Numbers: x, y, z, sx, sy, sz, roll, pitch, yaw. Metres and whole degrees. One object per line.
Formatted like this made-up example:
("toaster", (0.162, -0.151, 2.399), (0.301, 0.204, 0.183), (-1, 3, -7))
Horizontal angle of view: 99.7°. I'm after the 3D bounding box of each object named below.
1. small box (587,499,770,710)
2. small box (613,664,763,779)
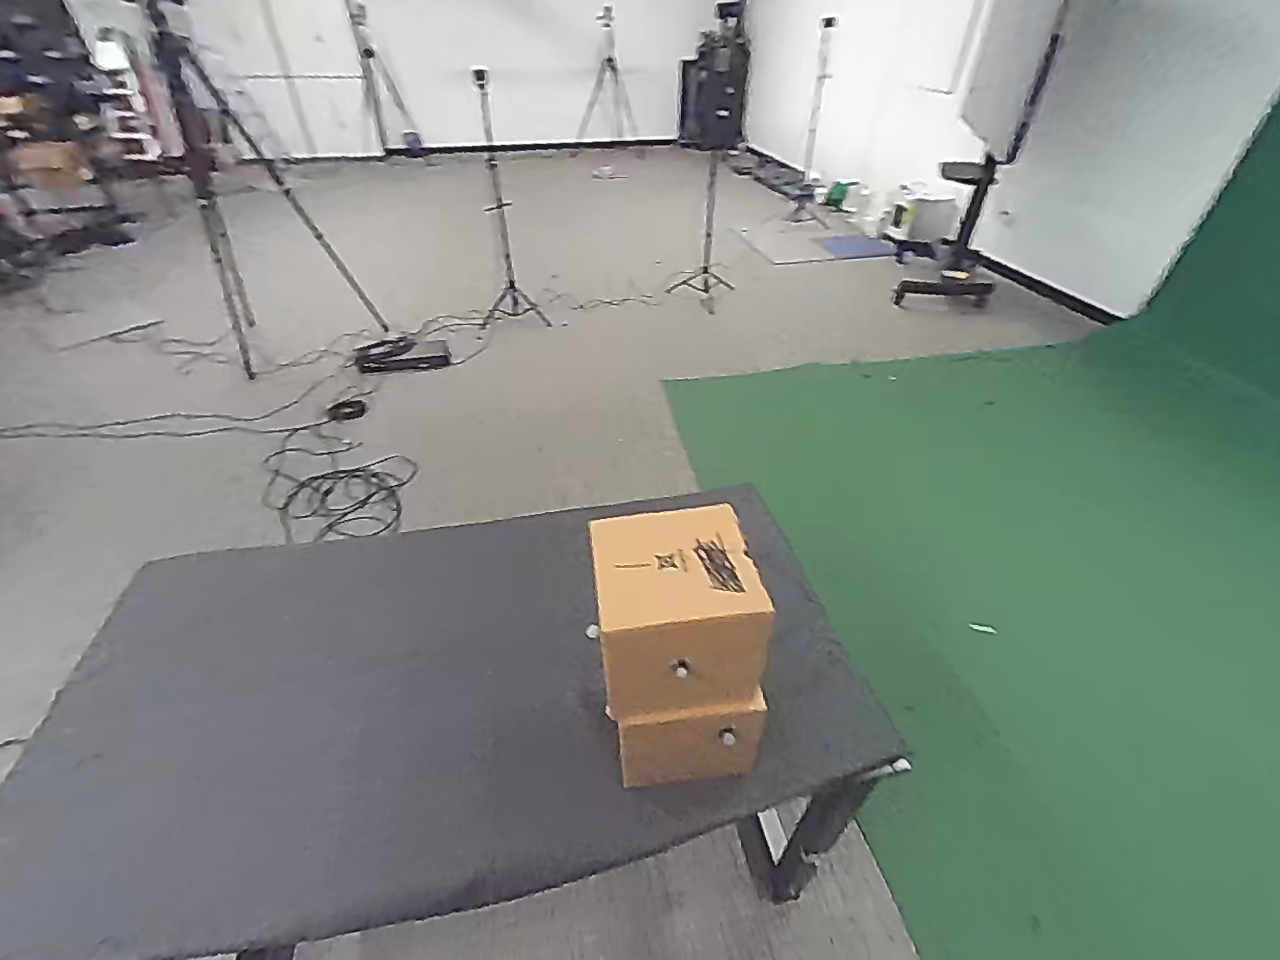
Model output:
("small box", (0.034, 0.145, 0.635), (0.179, 0.176, 0.168), (-6, 39, -5))
("small box", (0.050, 0.278, 0.732), (0.179, 0.176, 0.168), (-5, 39, -5))
